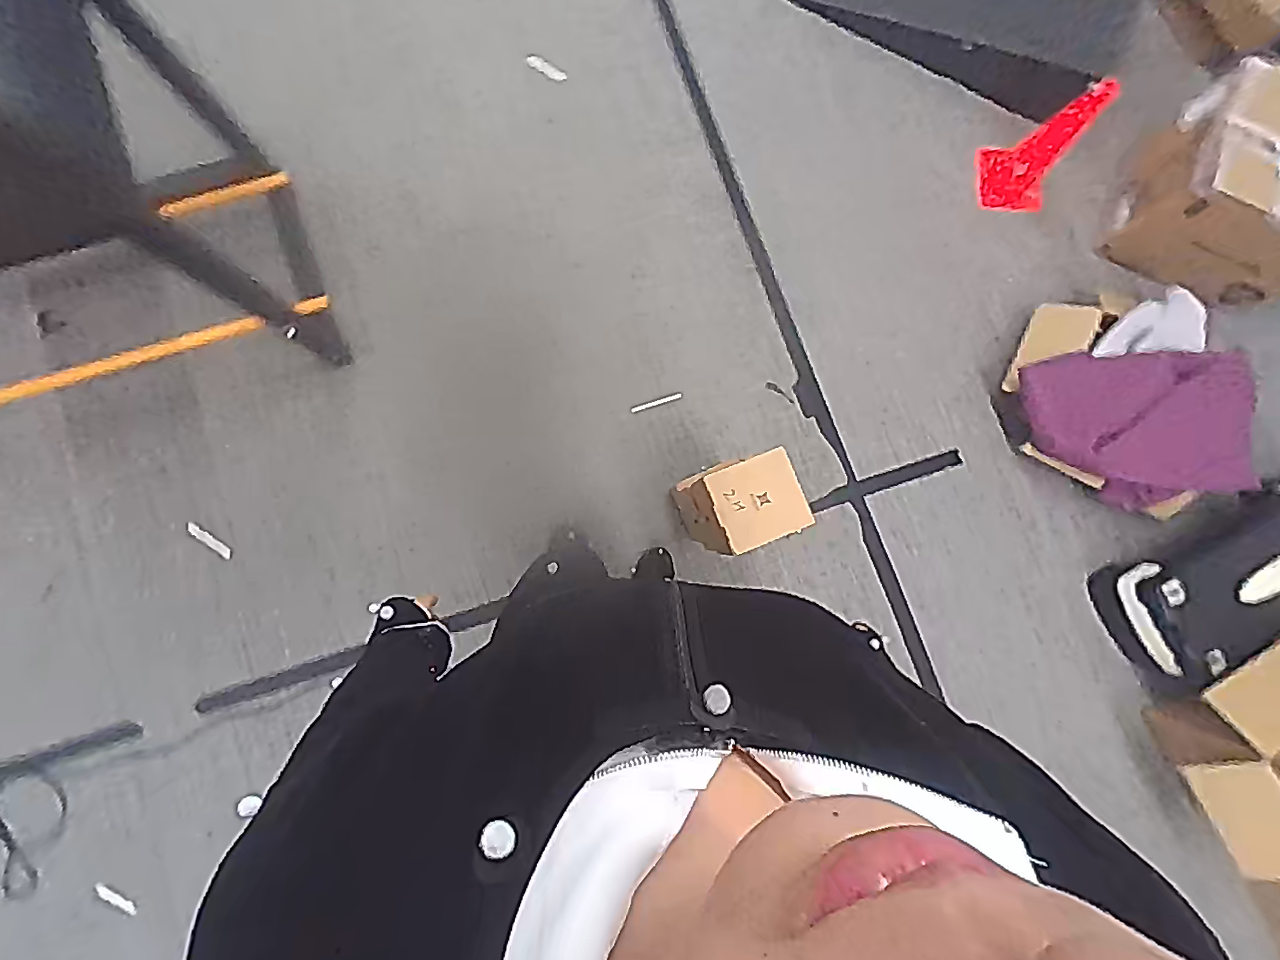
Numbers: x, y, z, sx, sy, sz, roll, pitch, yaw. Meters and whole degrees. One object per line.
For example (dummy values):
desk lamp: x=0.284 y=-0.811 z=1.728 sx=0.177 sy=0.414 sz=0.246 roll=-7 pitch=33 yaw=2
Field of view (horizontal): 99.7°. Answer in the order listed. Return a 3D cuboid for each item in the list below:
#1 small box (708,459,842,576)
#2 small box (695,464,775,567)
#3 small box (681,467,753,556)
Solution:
small box: x=0.250 y=0.073 z=1.046 sx=0.179 sy=0.176 sz=0.168 roll=-21 pitch=85 yaw=-5
small box: x=0.234 y=0.083 z=1.211 sx=0.179 sy=0.176 sz=0.168 roll=-26 pitch=86 yaw=-5
small box: x=0.219 y=0.081 z=1.375 sx=0.179 sy=0.176 sz=0.168 roll=-25 pitch=86 yaw=-4
